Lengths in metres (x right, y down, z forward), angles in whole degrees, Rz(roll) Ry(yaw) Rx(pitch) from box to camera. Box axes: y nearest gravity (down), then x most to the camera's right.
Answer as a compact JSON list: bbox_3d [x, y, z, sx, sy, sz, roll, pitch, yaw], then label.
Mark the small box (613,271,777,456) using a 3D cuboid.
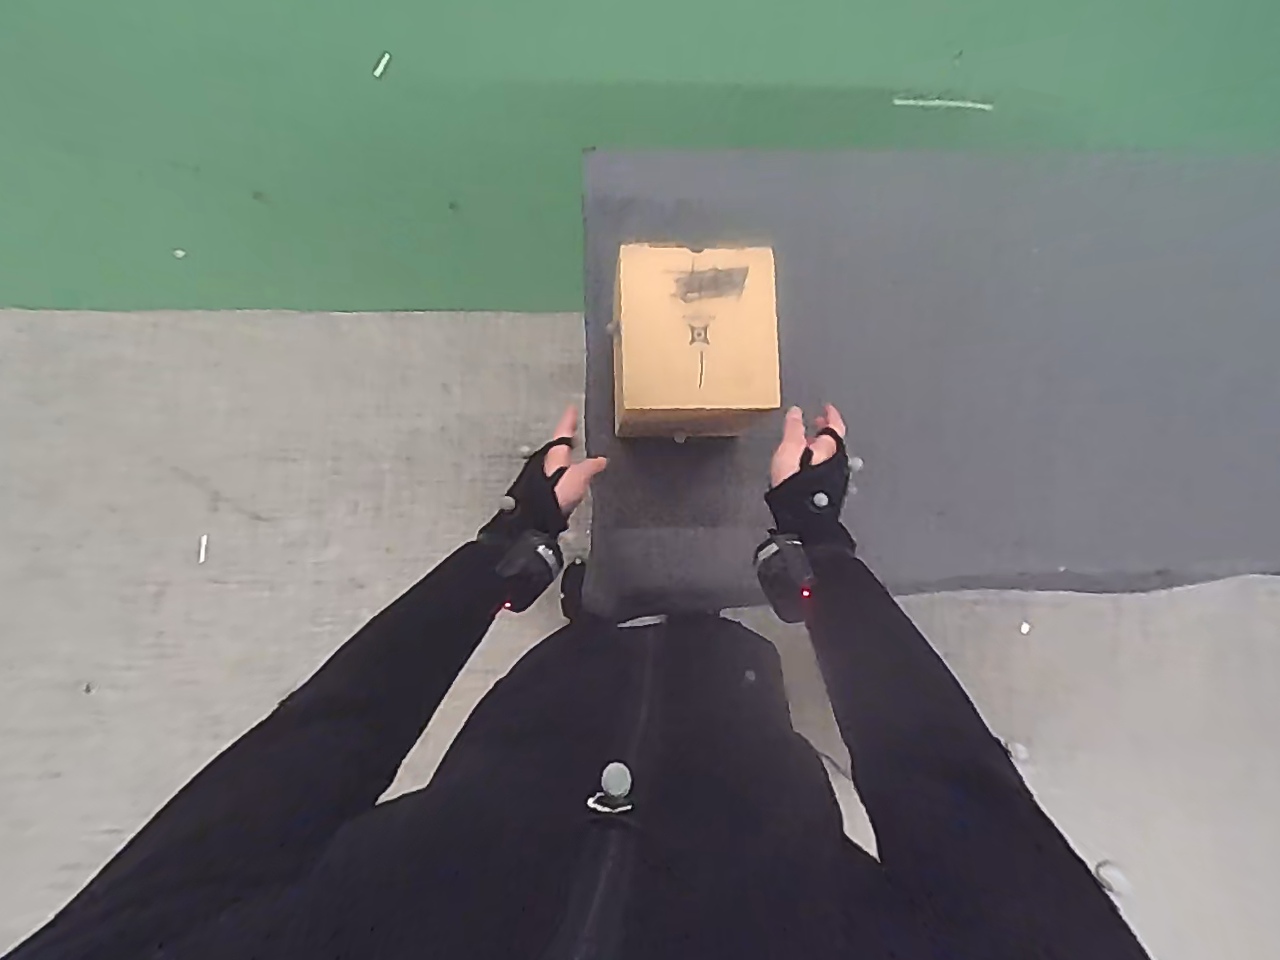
[{"bbox_3d":[0.054,-0.129,0.650,0.168,0.176,0.179,-2,85,-5],"label":"small box"}]
